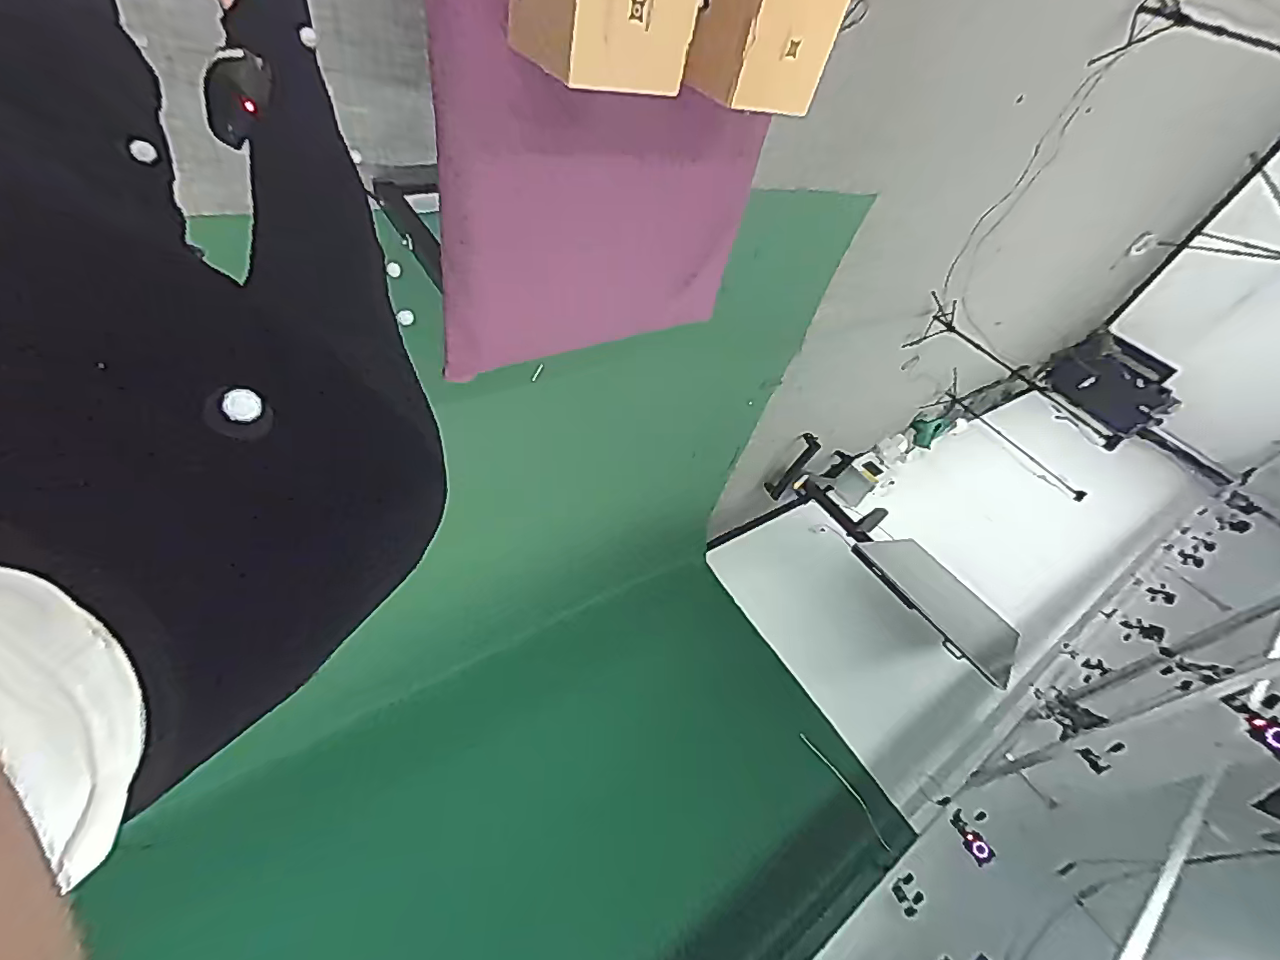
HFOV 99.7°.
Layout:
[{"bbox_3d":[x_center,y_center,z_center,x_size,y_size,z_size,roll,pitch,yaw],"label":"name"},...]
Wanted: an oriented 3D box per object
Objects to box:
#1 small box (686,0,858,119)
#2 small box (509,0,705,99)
[{"bbox_3d":[0.180,-0.672,0.812,0.179,0.176,0.168,-18,147,-31],"label":"small box"},{"bbox_3d":[-0.040,-0.597,0.664,0.179,0.176,0.168,-20,147,-31],"label":"small box"}]
